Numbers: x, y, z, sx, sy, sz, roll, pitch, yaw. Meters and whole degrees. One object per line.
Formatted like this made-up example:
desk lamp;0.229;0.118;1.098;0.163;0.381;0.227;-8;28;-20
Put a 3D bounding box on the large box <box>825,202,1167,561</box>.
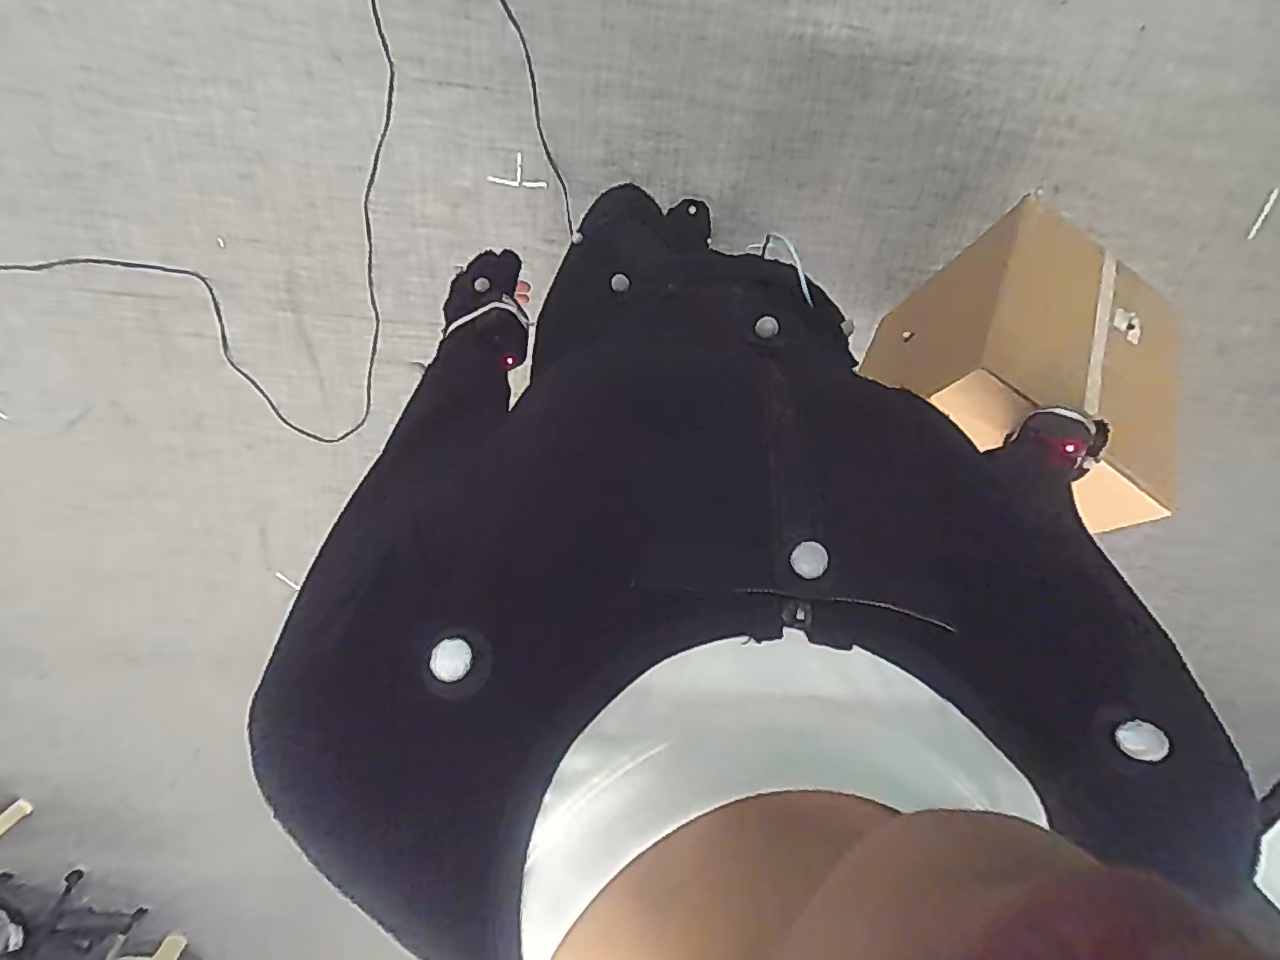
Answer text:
large box;0.562;-0.139;0.874;0.320;0.408;0.320;35;152;-6
